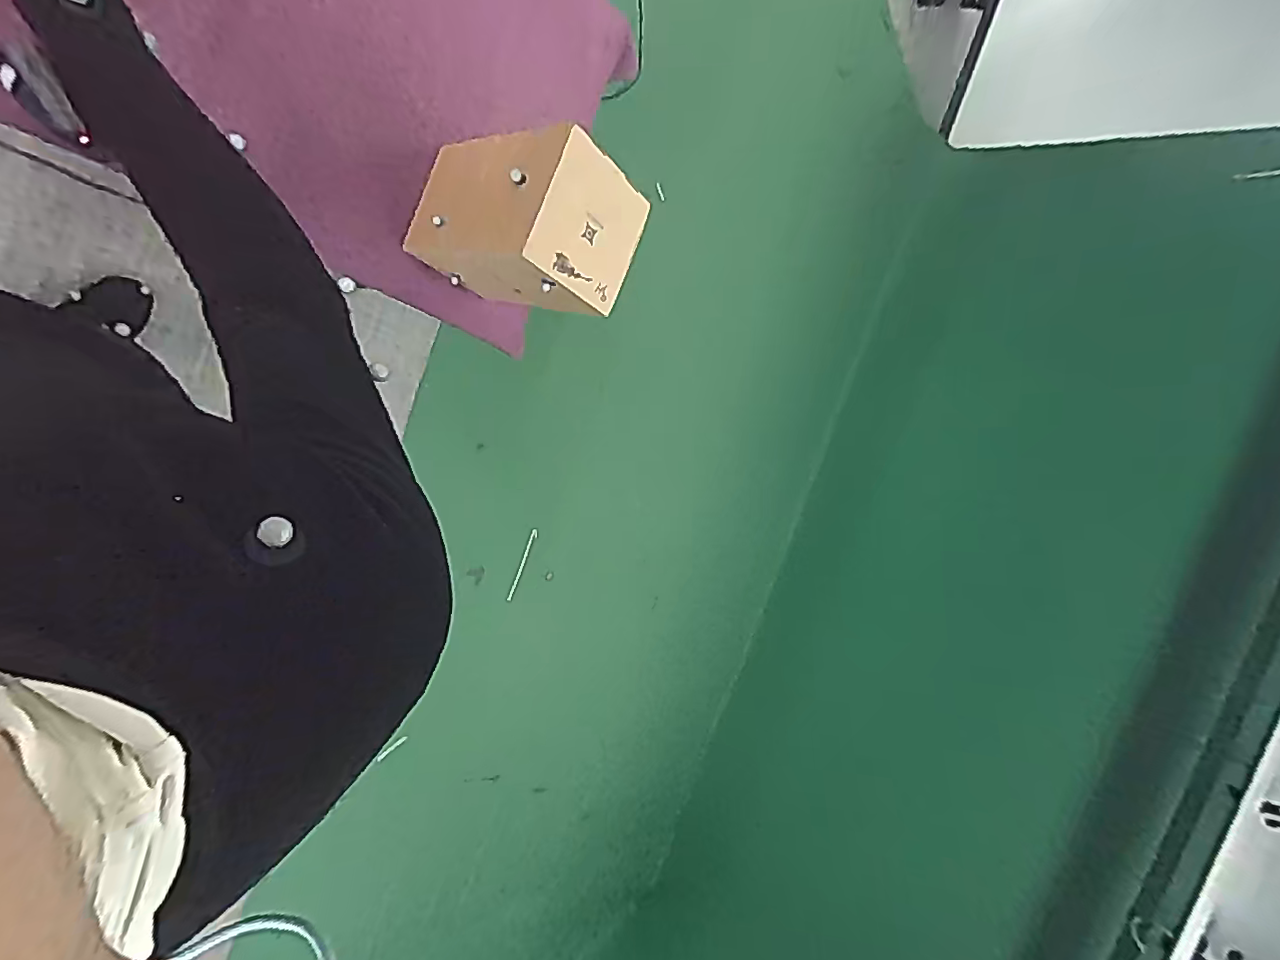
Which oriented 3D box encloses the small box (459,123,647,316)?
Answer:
[{"bbox_3d":[-0.125,-0.353,0.759,0.168,0.176,0.179,21,90,-50],"label":"small box"}]
